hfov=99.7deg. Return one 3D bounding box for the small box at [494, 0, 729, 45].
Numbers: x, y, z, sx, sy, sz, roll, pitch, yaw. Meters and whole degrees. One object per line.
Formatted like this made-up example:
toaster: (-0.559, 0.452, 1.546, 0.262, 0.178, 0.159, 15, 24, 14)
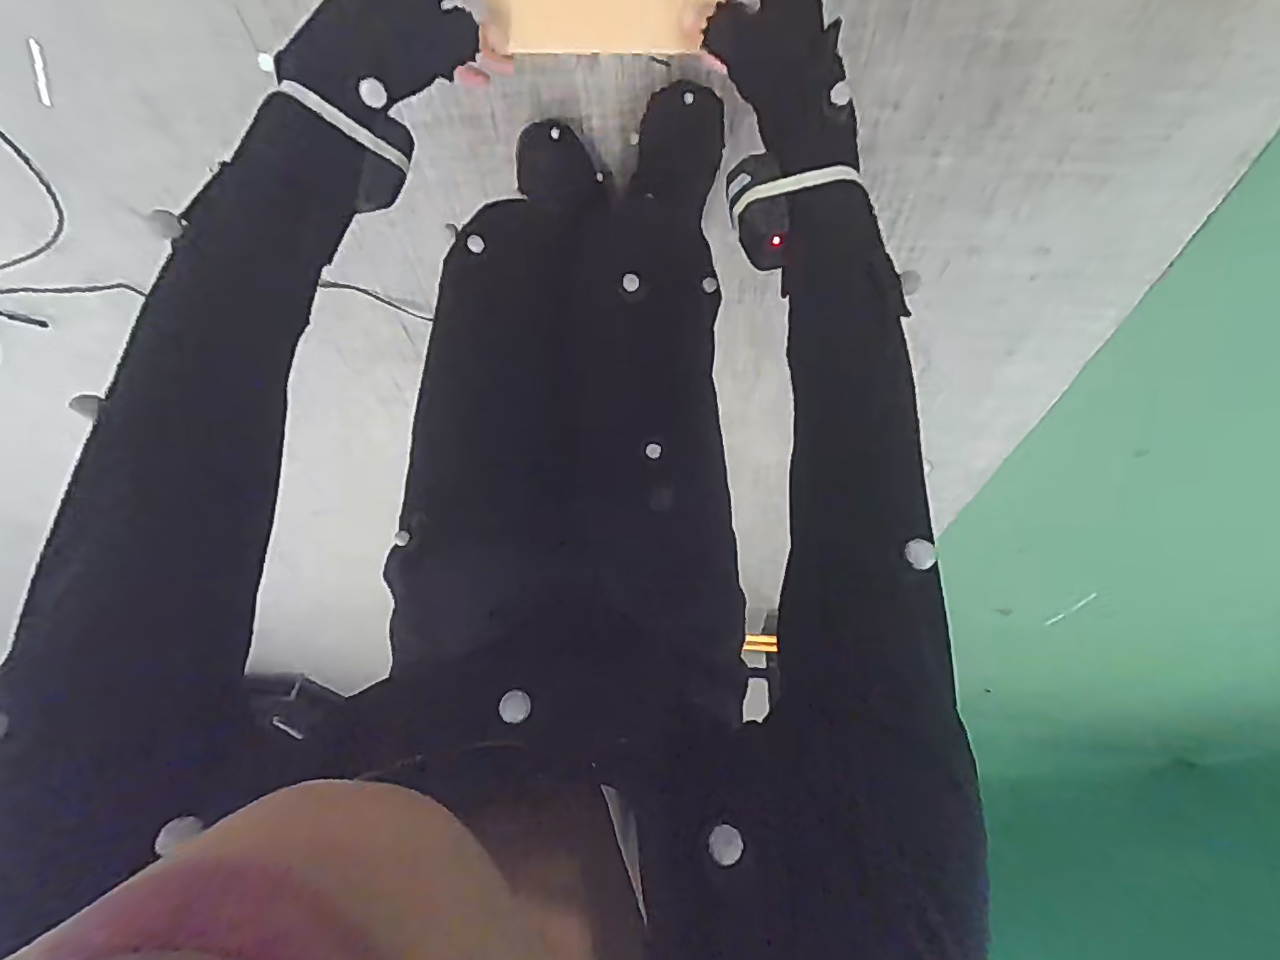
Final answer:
small box: (-0.016, -0.430, 0.385, 0.168, 0.176, 0.179, 1, 133, 2)
